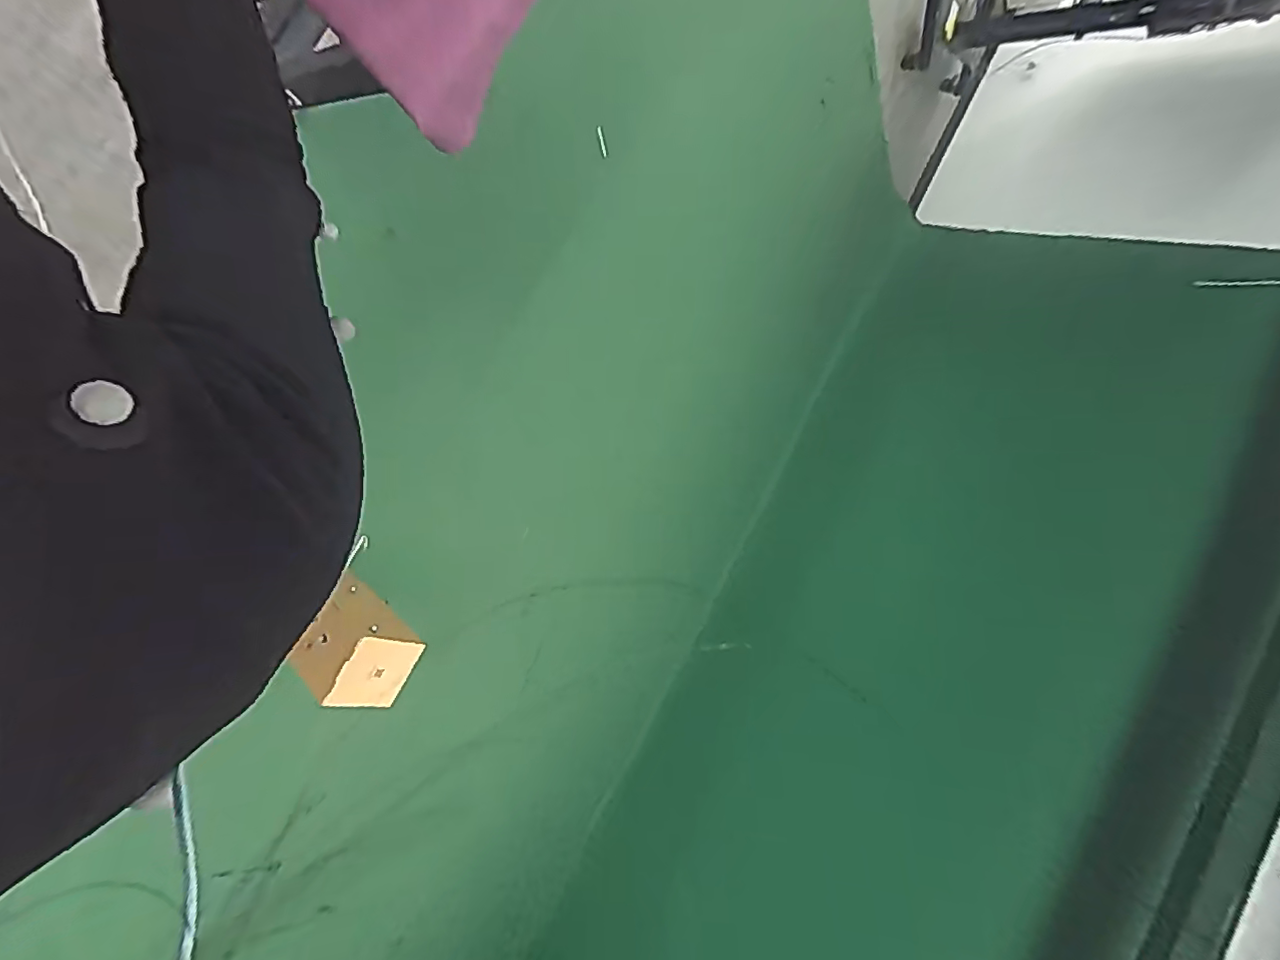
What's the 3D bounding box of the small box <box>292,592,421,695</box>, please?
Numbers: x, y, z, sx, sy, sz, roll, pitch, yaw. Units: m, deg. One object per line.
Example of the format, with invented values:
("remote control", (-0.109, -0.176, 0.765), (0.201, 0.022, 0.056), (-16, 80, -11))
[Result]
("small box", (-0.663, 0.381, 1.266), (0.168, 0.176, 0.179), (-60, 145, -5))
